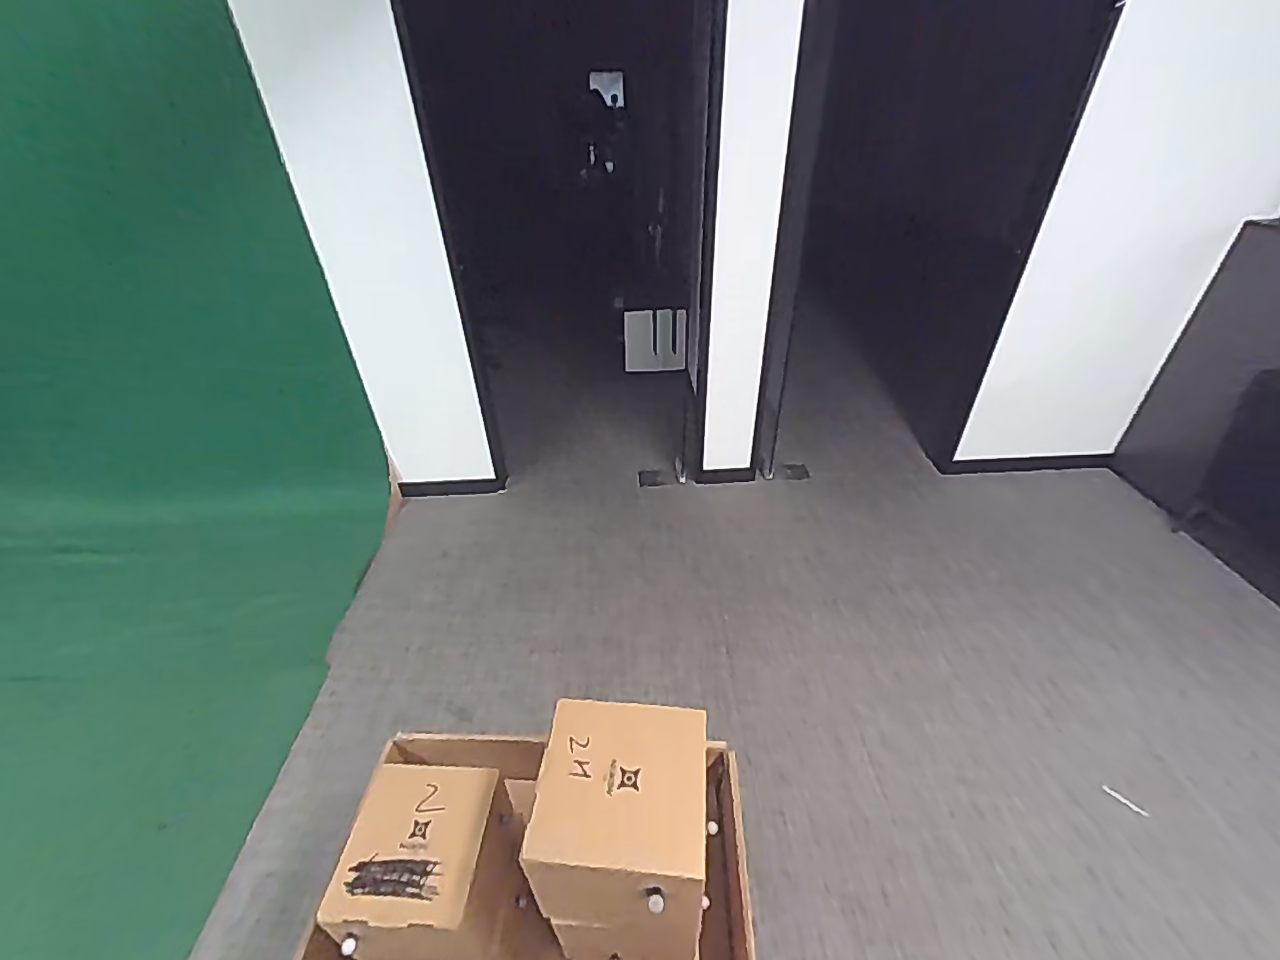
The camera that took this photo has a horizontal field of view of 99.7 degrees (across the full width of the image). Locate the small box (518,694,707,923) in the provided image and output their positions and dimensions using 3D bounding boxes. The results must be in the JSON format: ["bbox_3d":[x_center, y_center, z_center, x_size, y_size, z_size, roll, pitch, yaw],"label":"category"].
[{"bbox_3d":[-0.017,0.368,0.610,0.179,0.176,0.168,1,36,7],"label":"small box"}]

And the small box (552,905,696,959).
[{"bbox_3d":[-0.009,0.498,0.711,0.168,0.176,0.179,1,37,6],"label":"small box"}]
